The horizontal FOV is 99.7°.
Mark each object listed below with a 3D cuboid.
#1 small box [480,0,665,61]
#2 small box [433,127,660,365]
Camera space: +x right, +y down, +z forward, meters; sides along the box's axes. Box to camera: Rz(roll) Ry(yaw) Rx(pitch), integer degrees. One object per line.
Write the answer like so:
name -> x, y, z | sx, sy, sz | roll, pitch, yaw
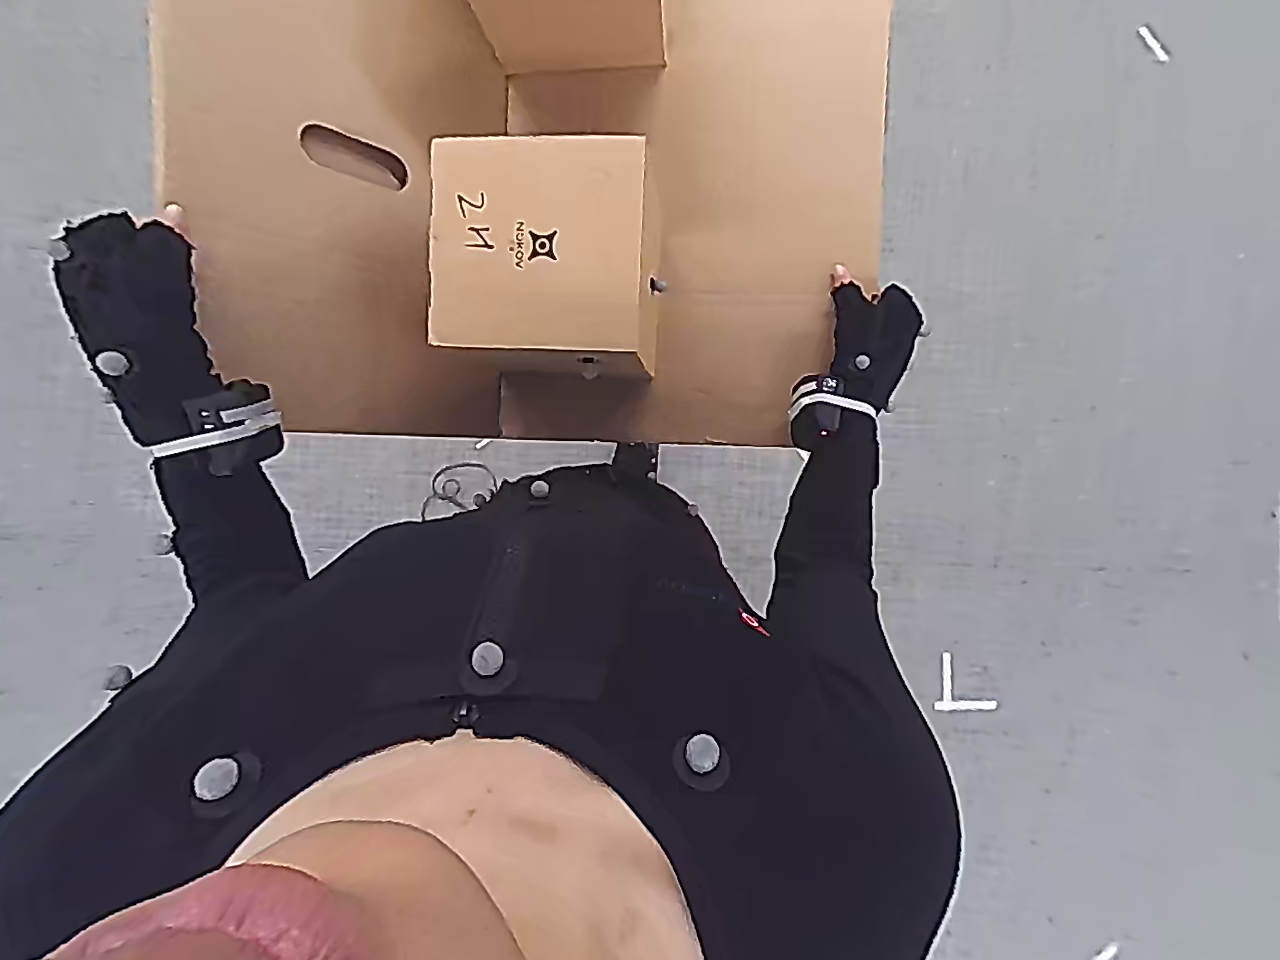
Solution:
small box -> -0.069, -0.525, 0.494 | 0.179, 0.176, 0.168 | 1, 94, 5
small box -> -0.075, -0.205, 0.517 | 0.179, 0.176, 0.168 | 3, 94, 6
